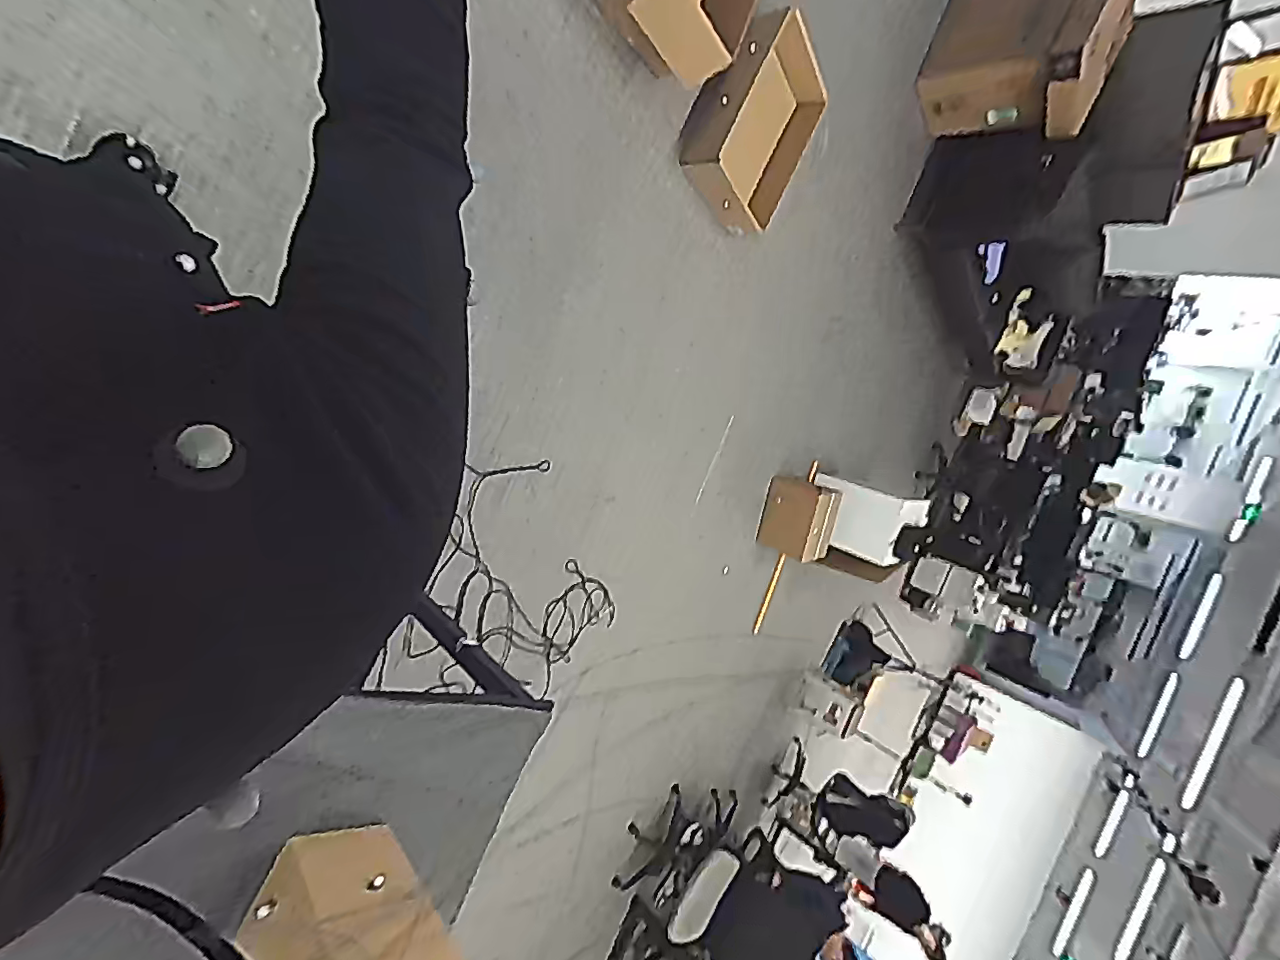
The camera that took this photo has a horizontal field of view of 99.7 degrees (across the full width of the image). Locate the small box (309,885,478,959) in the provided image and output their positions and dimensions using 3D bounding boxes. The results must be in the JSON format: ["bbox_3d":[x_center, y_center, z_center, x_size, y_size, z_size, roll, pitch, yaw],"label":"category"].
[{"bbox_3d":[-0.360,0.714,0.748,0.179,0.176,0.168,30,85,-50],"label":"small box"}]

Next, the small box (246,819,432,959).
[{"bbox_3d":[-0.476,0.672,0.857,0.179,0.176,0.168,32,83,-49],"label":"small box"}]
